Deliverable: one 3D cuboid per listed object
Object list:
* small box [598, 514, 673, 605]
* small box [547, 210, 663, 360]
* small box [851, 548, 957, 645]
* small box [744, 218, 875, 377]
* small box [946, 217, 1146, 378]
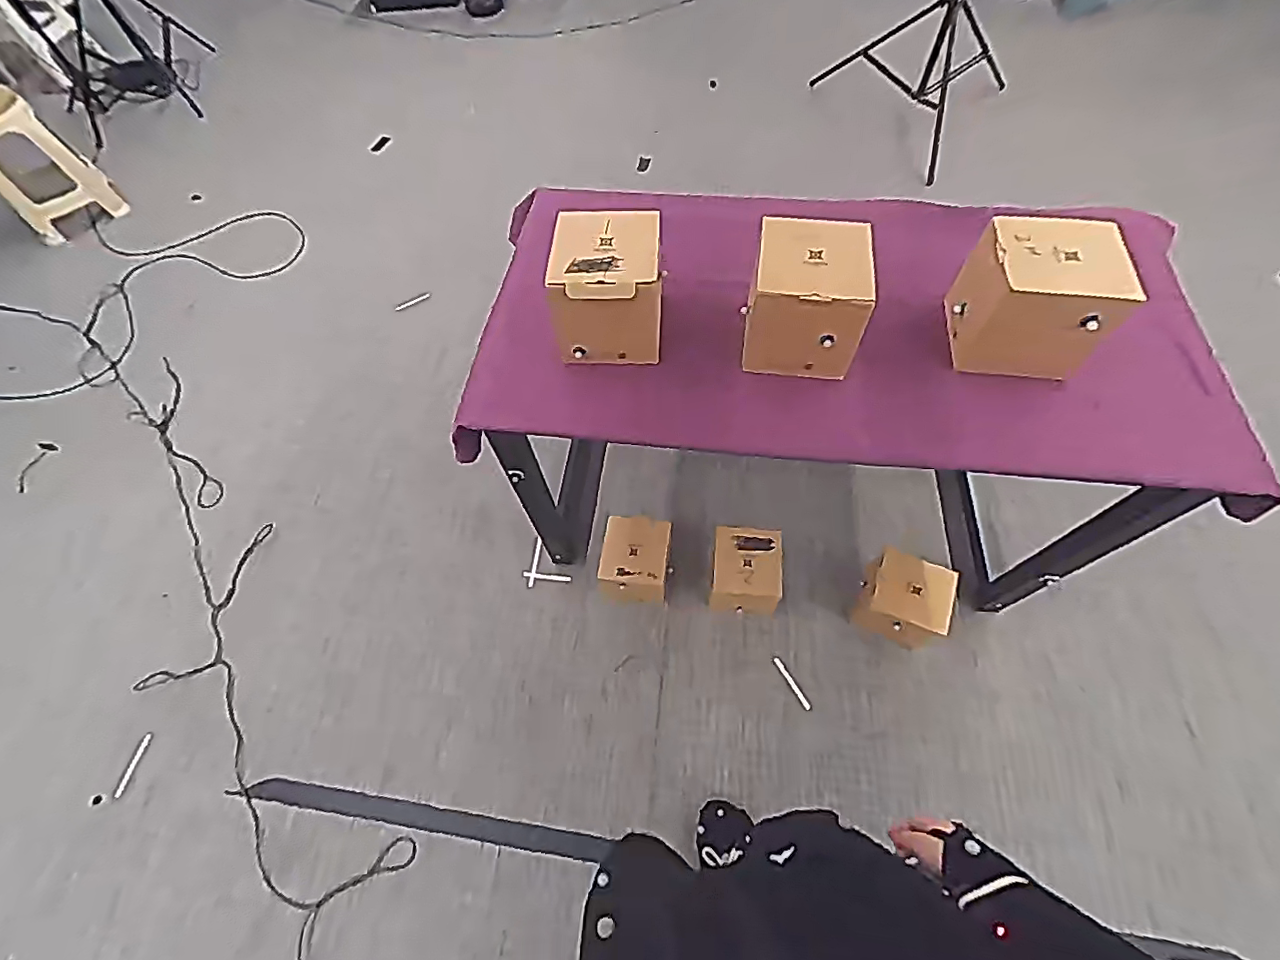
[{"bbox_3d":[-0.008,0.214,1.434,0.168,0.176,0.179,7,60,7],"label":"small box"},{"bbox_3d":[-0.047,-0.314,0.891,0.168,0.176,0.179,1,59,3],"label":"small box"},{"bbox_3d":[0.655,0.298,1.356,0.179,0.176,0.168,20,65,14],"label":"small box"},{"bbox_3d":[0.262,-0.285,0.863,0.168,0.176,0.179,7,60,5],"label":"small box"},{"bbox_3d":[0.610,-0.277,0.839,0.179,0.176,0.168,7,61,7],"label":"small box"}]
